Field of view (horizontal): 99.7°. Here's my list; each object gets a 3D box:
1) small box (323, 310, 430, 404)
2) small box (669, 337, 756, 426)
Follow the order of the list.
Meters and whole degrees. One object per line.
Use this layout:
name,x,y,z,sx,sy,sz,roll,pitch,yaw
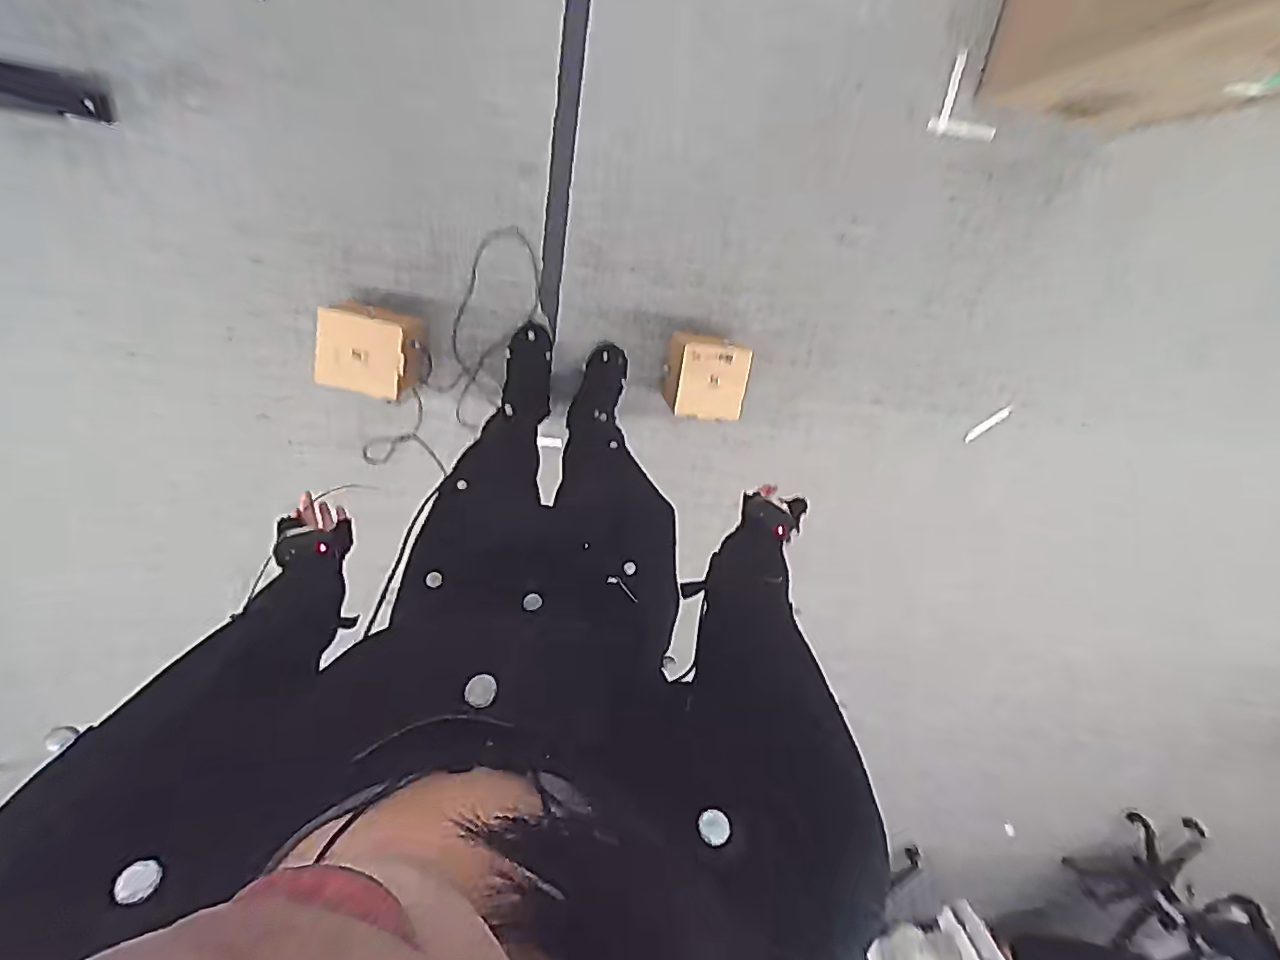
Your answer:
small box,-0.599,-0.289,1.247,0.179,0.176,0.168,12,109,-8
small box,0.172,-0.250,1.358,0.168,0.176,0.179,5,113,-9
